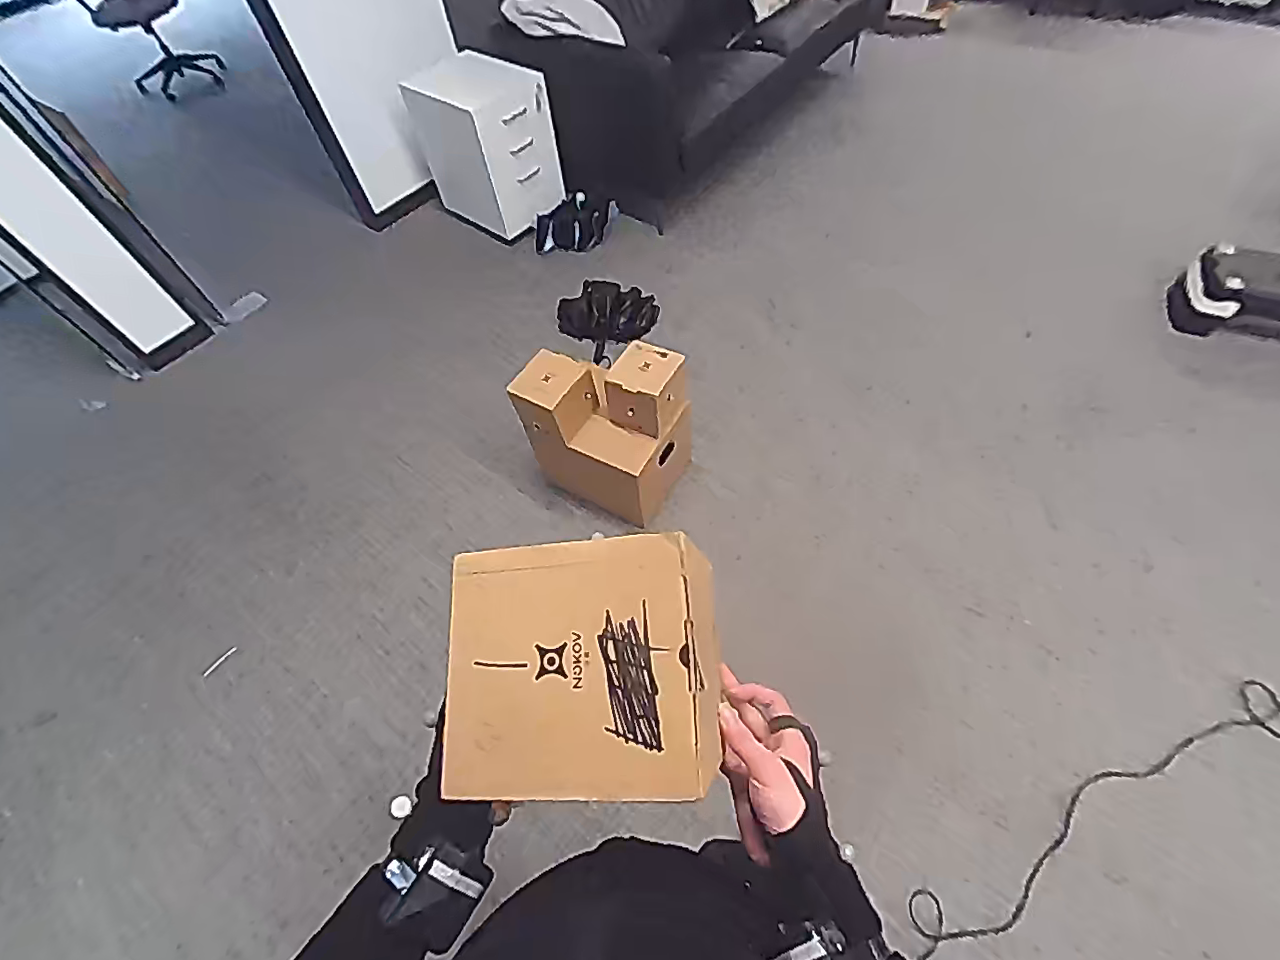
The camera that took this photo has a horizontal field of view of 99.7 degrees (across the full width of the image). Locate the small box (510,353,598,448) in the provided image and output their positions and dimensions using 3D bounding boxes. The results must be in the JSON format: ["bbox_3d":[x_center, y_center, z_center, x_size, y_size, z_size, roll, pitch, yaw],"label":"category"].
[{"bbox_3d":[-0.236,-0.226,1.545,0.168,0.176,0.179,25,66,22],"label":"small box"}]

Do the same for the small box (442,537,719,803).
[{"bbox_3d":[-0.032,0.146,0.437,0.179,0.176,0.168,-7,71,12],"label":"small box"}]

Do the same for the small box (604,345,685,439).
[{"bbox_3d":[0.022,-0.246,1.529,0.168,0.176,0.179,22,60,19],"label":"small box"}]
